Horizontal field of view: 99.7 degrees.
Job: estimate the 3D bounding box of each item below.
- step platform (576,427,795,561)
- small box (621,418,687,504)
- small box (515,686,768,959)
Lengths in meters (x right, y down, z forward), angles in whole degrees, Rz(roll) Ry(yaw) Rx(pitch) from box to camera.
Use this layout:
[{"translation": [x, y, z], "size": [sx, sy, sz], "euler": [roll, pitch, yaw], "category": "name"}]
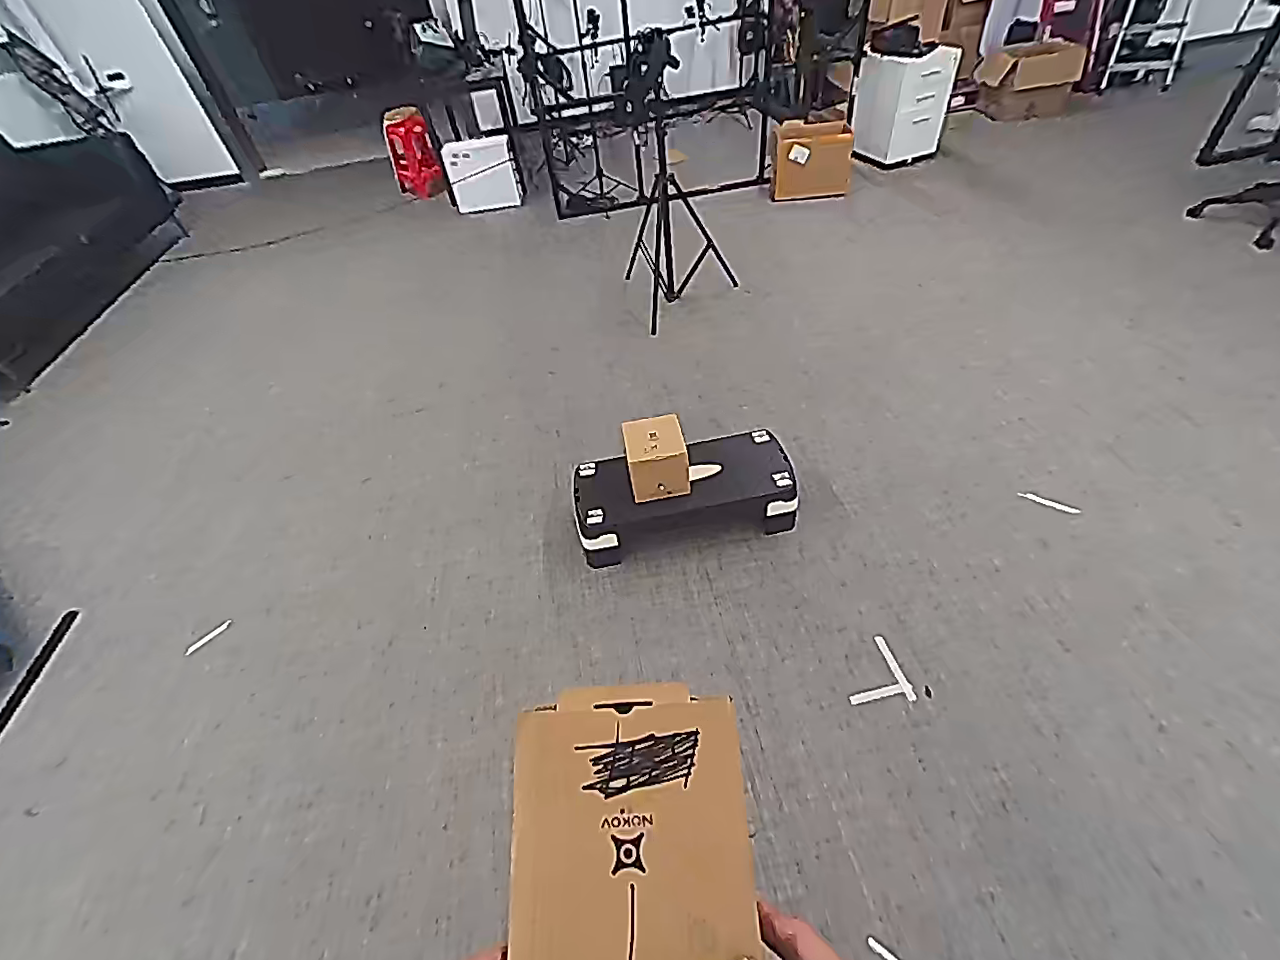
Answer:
[{"translation": [0.138, 0.037, 1.733], "size": [0.684, 0.204, 0.286], "euler": [-12, 45, -2], "category": "step platform"}, {"translation": [0.041, -0.055, 1.593], "size": [0.168, 0.176, 0.179], "euler": [-10, 46, -1], "category": "small box"}, {"translation": [0.000, 0.277, 0.451], "size": [0.168, 0.176, 0.179], "euler": [-4, 64, 1], "category": "small box"}]
